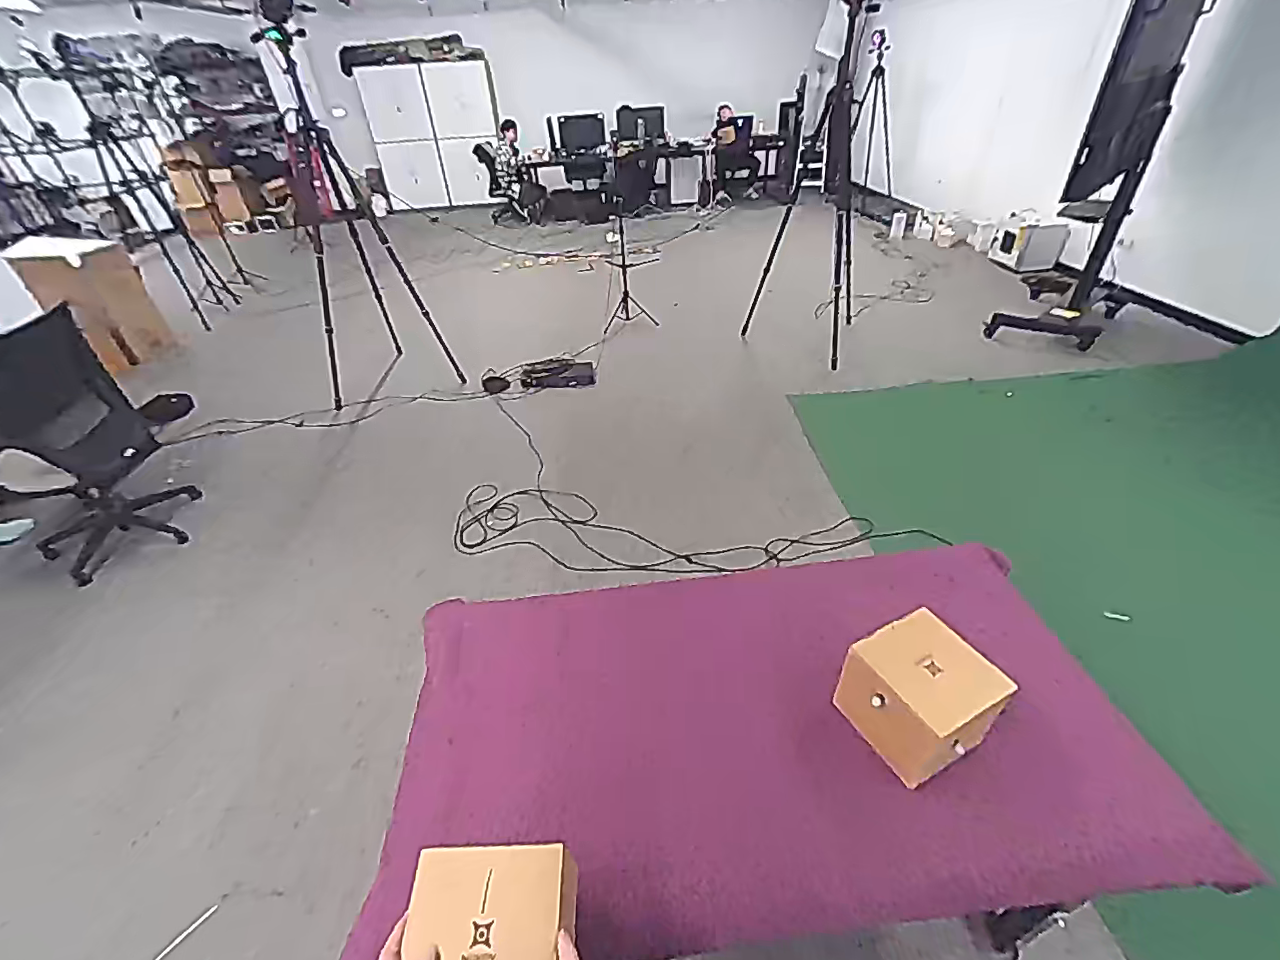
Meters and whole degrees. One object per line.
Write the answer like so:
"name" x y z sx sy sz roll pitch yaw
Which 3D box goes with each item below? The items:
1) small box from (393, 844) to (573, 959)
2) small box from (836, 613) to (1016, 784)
"small box" -0.170 0.534 0.617 0.168 0.176 0.179 -1 47 0
"small box" 0.449 0.358 0.877 0.168 0.176 0.179 -19 40 -19
